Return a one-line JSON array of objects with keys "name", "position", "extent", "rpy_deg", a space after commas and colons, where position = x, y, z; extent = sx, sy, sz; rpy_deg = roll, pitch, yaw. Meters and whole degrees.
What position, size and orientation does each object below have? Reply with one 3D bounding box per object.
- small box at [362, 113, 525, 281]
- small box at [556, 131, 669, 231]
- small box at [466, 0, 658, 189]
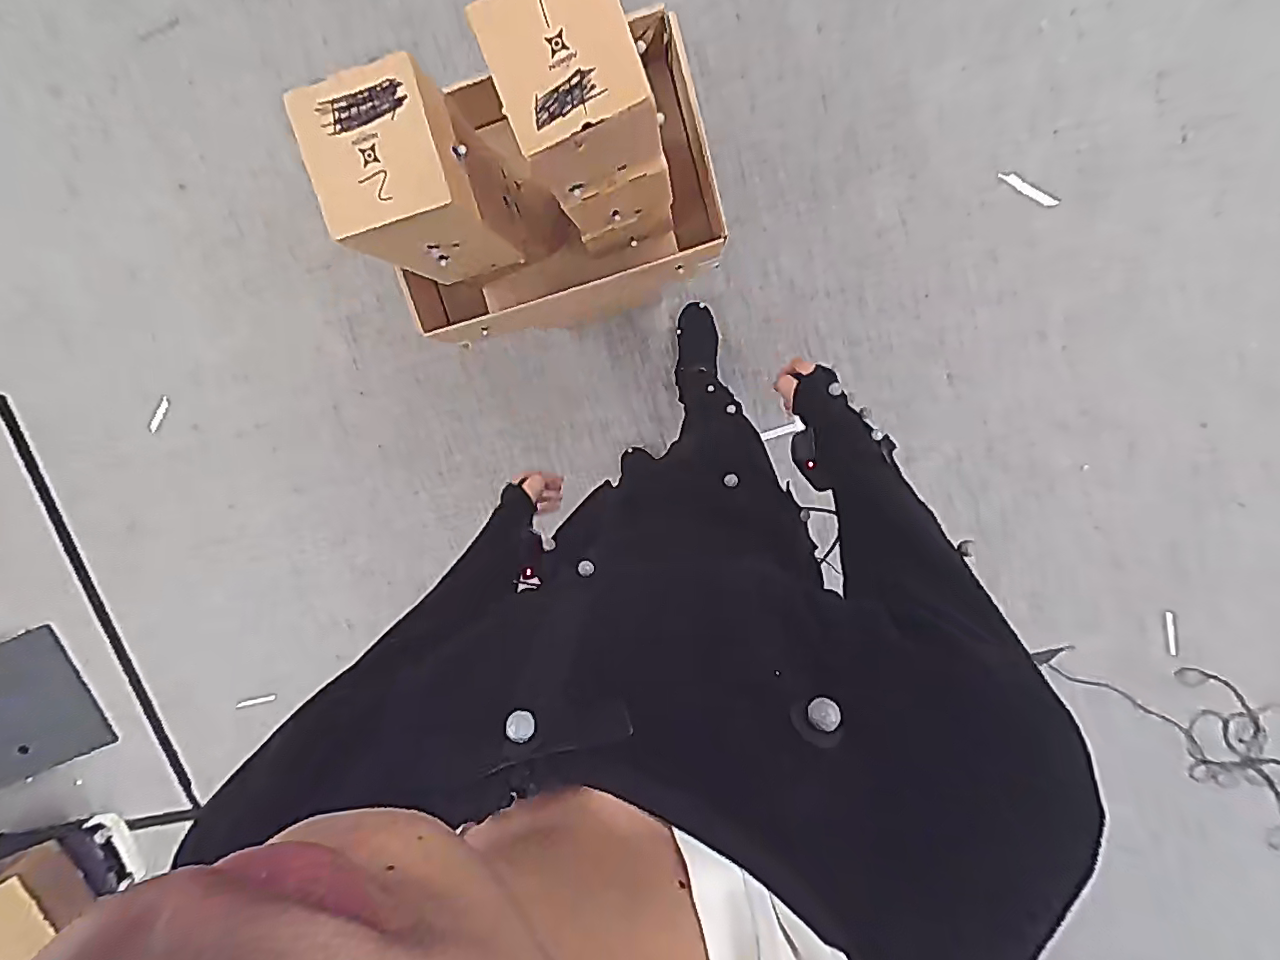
[{"name": "small box", "position": [-0.309, -0.448, 0.886], "extent": [0.168, 0.176, 0.179], "rpy_deg": [-14, 98, 9]}, {"name": "small box", "position": [-0.058, -0.522, 0.848], "extent": [0.168, 0.176, 0.179], "rpy_deg": [-18, 100, 9]}, {"name": "small box", "position": [-0.083, -0.500, 0.687], "extent": [0.168, 0.176, 0.179], "rpy_deg": [-21, 98, 9]}]
